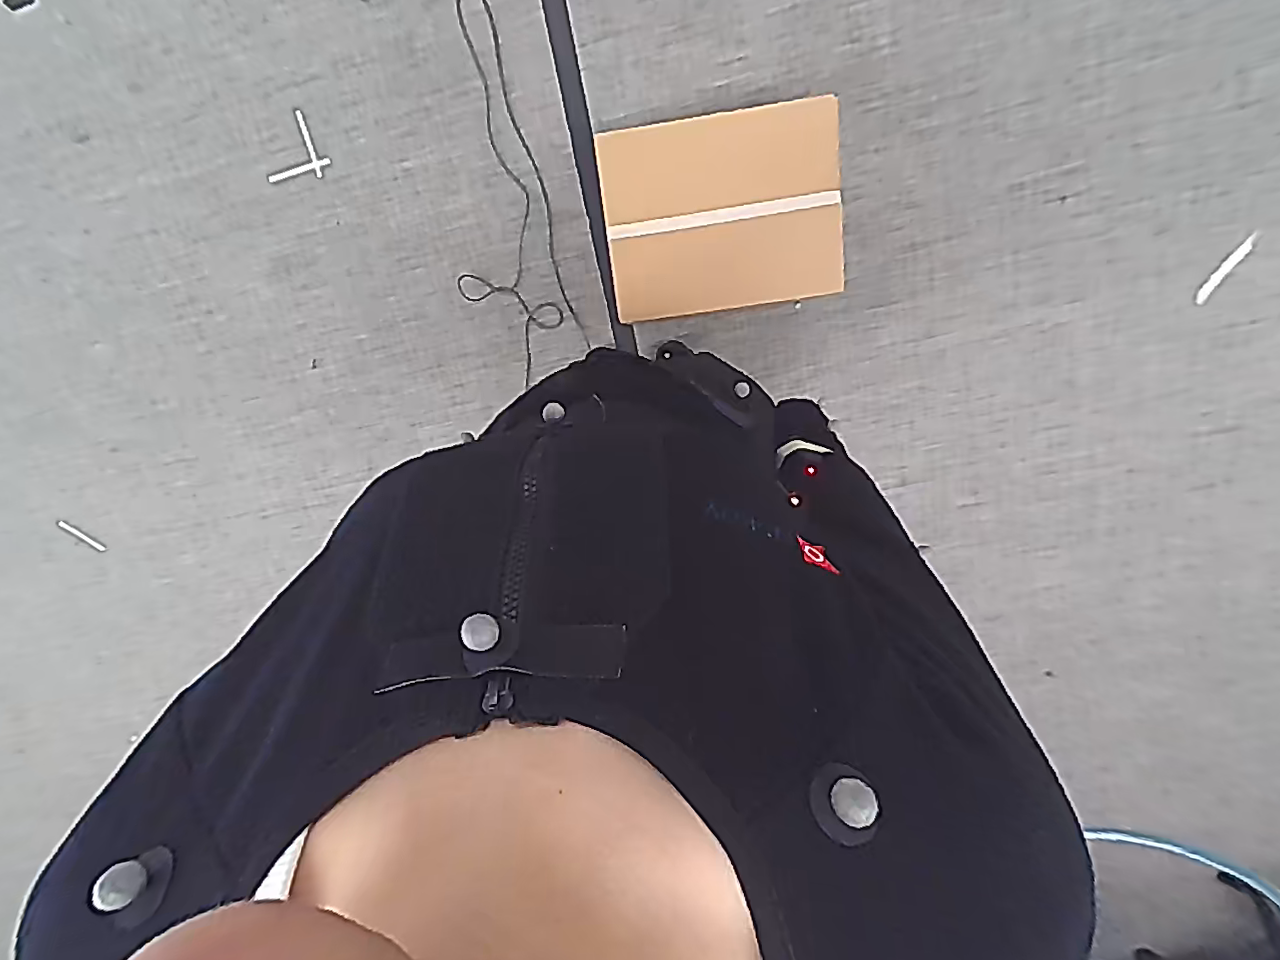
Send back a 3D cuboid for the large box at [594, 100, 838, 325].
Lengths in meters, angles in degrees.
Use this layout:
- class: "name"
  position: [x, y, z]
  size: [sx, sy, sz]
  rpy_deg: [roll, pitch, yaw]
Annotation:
- class: "large box"
  position: [0.146, -0.498, 1.086]
  size: [0.408, 0.320, 0.320]
  rpy_deg: [-7, 105, 5]
